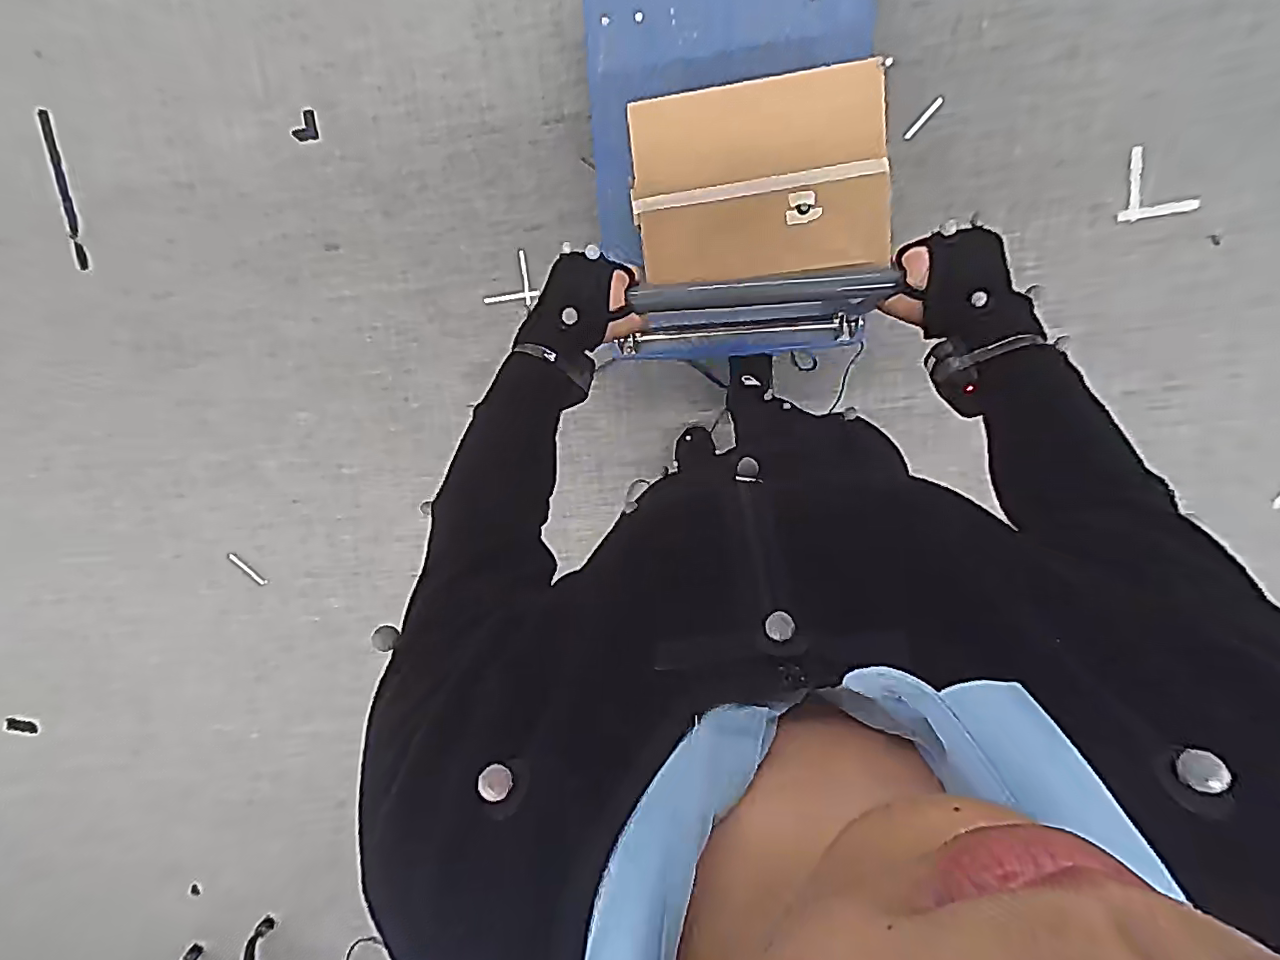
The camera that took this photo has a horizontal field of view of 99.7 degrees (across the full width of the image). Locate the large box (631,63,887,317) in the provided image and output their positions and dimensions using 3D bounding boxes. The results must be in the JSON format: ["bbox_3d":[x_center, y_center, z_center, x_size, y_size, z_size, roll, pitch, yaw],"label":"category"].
[{"bbox_3d":[0.212,-0.515,1.046,0.408,0.320,0.320,-6,102,6],"label":"large box"}]
